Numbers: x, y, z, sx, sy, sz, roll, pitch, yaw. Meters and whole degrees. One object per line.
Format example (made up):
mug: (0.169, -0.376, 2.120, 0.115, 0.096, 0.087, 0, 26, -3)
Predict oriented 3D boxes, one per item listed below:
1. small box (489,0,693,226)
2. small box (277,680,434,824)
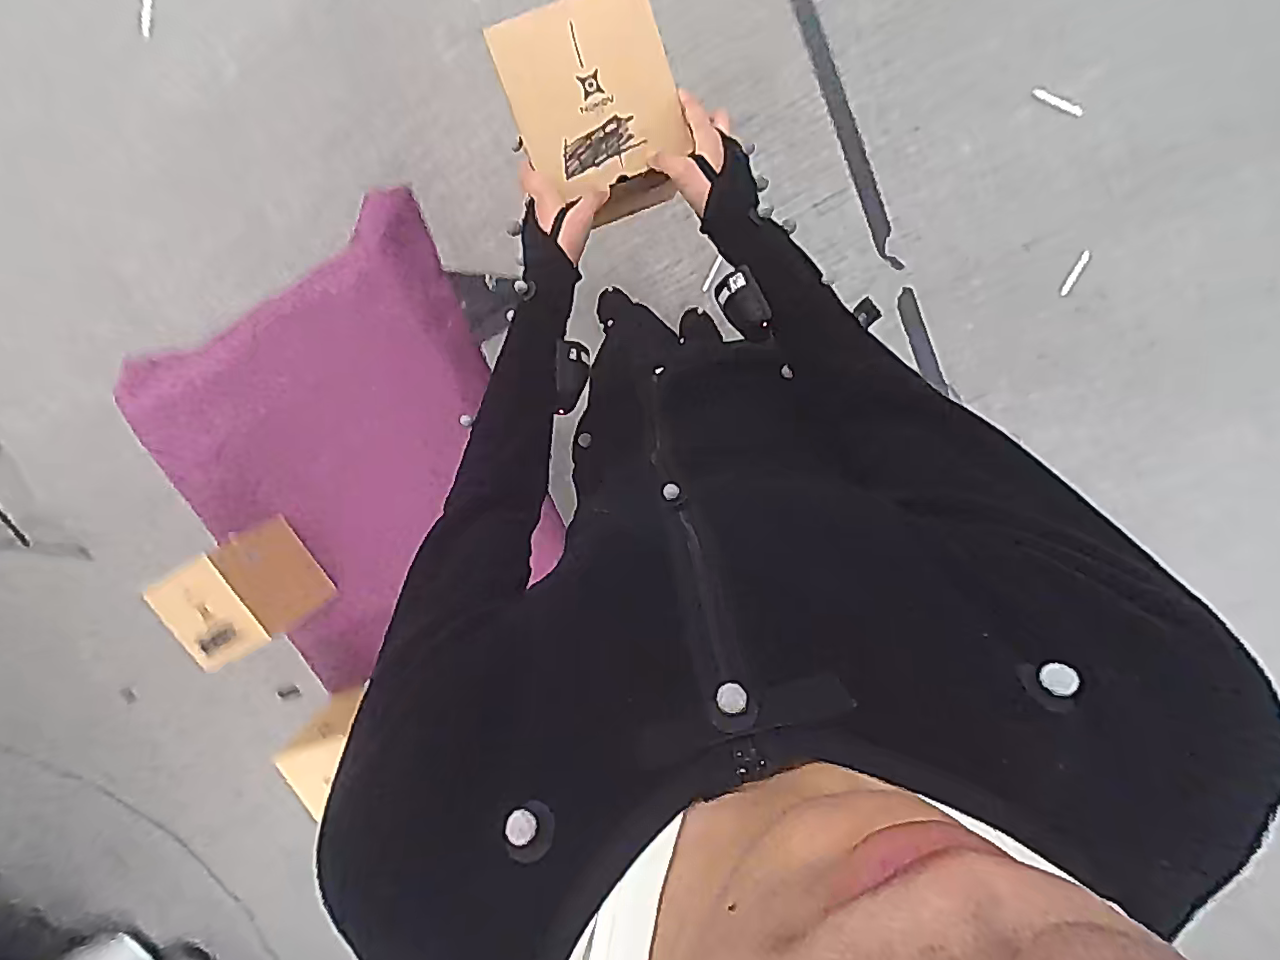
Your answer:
small box: (-0.051, -0.411, 0.621, 0.168, 0.176, 0.179, -19, 104, 0)
small box: (-0.546, 0.527, 1.062, 0.179, 0.176, 0.168, -22, 103, 13)
